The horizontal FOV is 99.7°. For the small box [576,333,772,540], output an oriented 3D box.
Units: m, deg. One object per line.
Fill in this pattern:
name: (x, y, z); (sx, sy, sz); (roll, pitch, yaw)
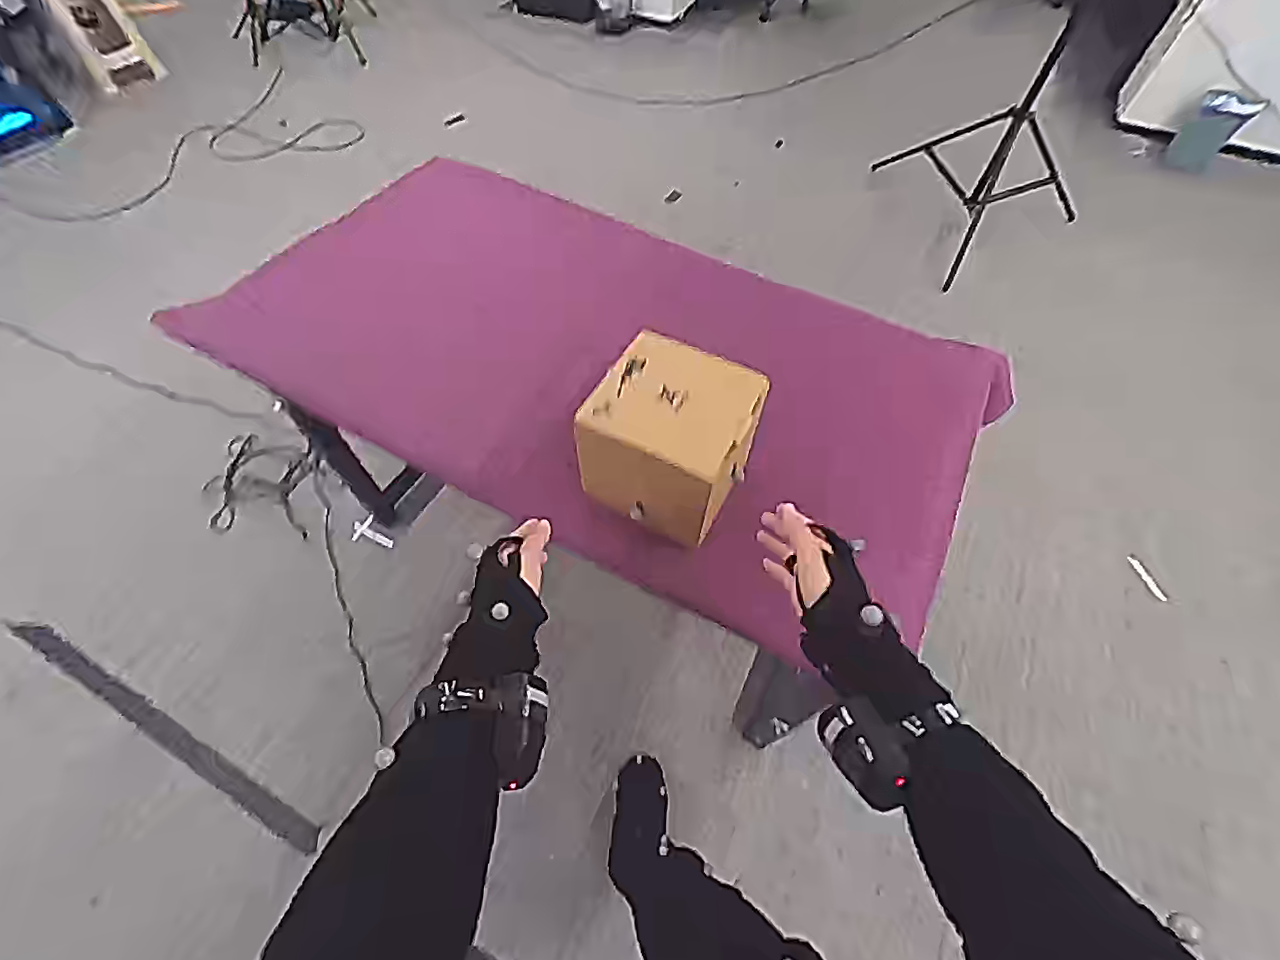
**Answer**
small box: (0.040, -0.046, 0.685); (0.179, 0.176, 0.168); (26, 61, 14)
